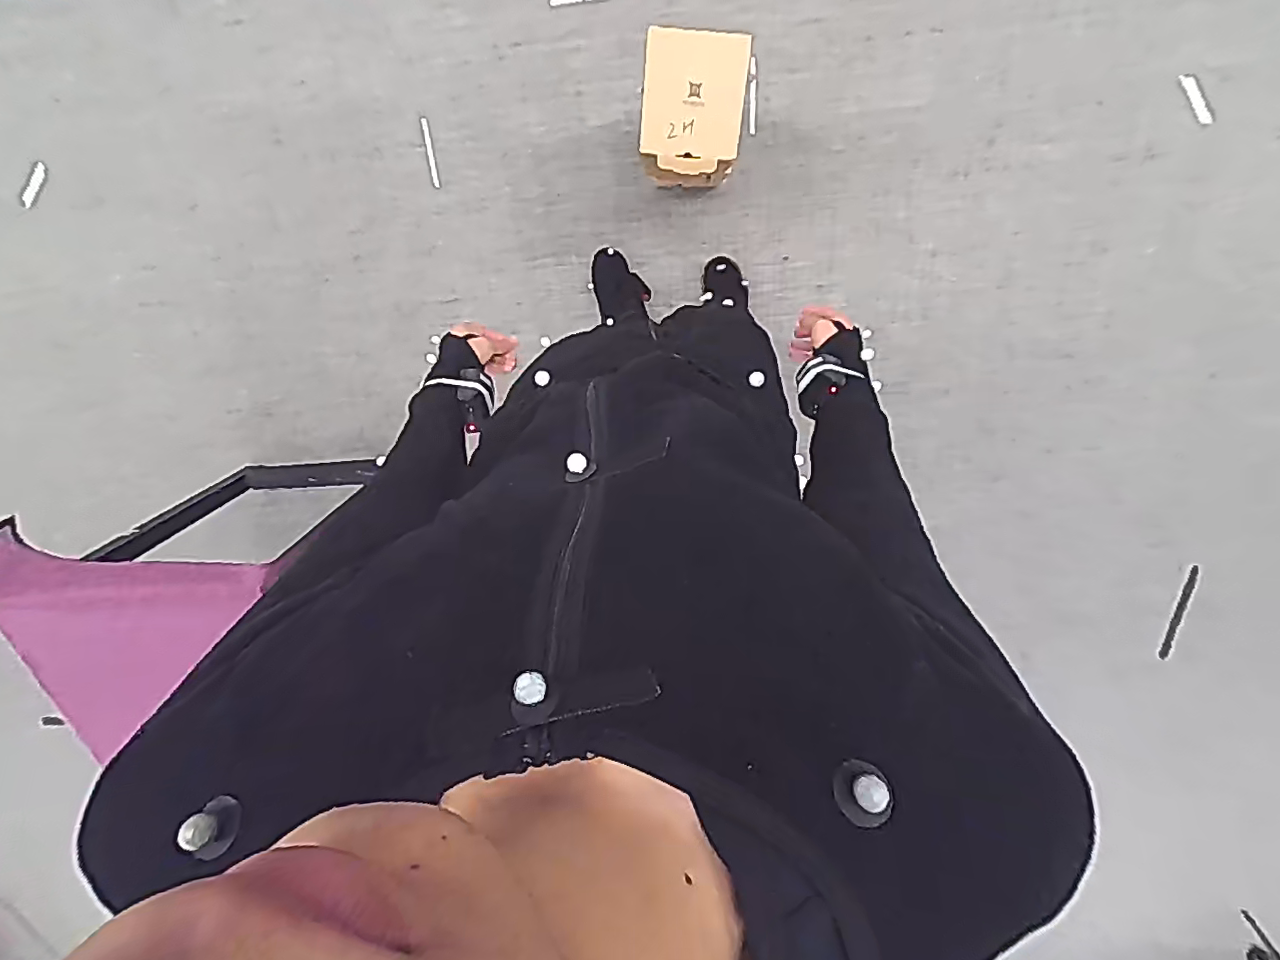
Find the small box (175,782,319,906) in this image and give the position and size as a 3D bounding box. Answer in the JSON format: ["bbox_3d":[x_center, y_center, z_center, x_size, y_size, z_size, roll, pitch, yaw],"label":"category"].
[{"bbox_3d":[-0.890,0.835,1.247,0.168,0.176,0.179,-13,113,8],"label":"small box"}]

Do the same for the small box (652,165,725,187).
[{"bbox_3d":[0.114,-0.783,1.254,0.168,0.176,0.179,1,115,2],"label":"small box"}]

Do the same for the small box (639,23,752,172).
[{"bbox_3d":[0.088,-0.657,0.949,0.168,0.176,0.179,5,115,0],"label":"small box"}]
